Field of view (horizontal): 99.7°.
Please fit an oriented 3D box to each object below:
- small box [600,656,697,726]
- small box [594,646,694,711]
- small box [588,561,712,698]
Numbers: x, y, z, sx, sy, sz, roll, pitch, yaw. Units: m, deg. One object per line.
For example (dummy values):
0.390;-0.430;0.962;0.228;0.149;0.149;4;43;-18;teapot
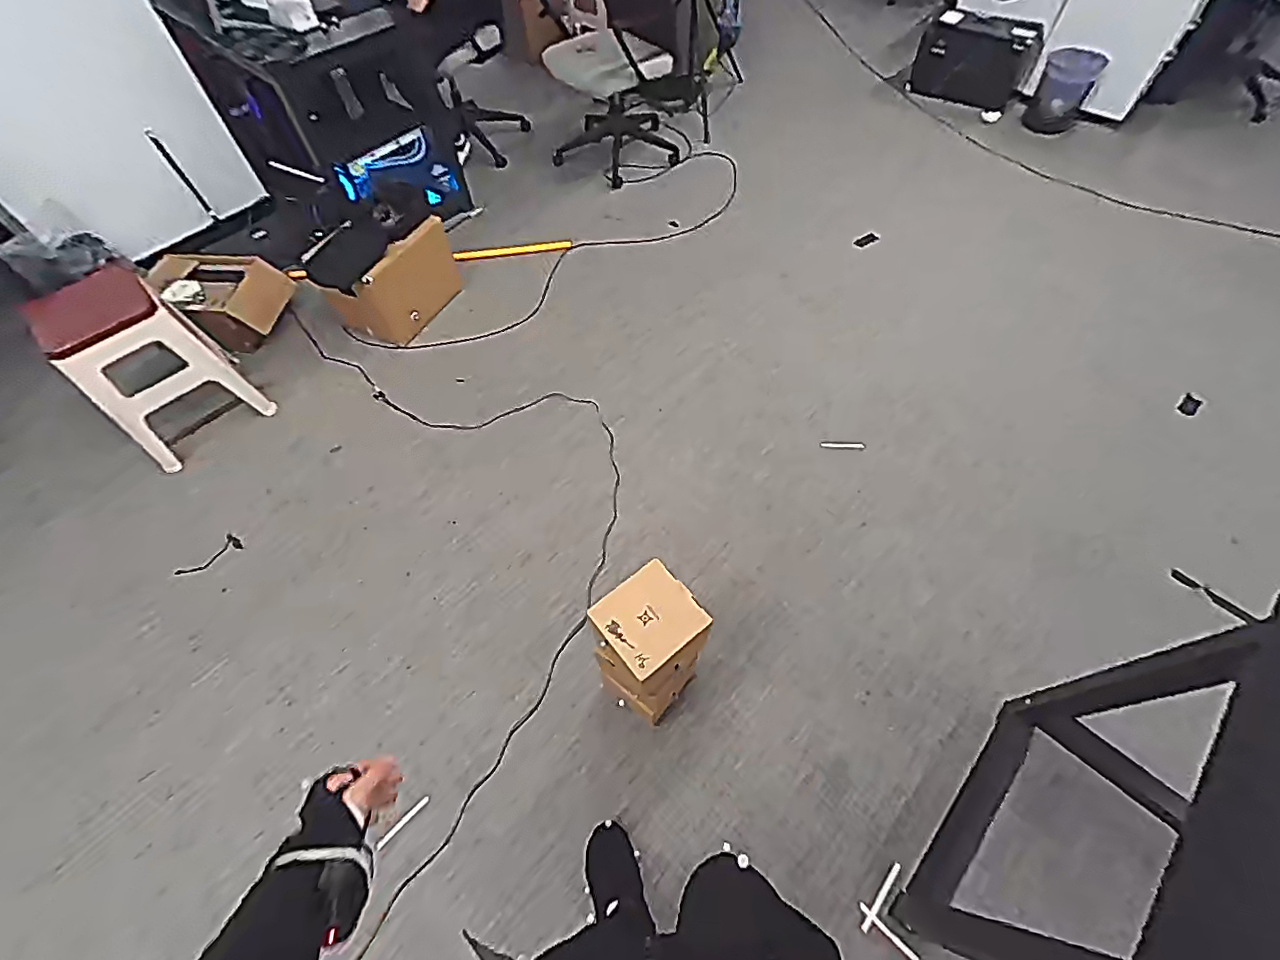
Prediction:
0.020;0.476;1.338;0.168;0.176;0.179;34;66;21;small box
0.019;0.385;1.204;0.168;0.176;0.179;32;62;19;small box
0.017;0.298;1.065;0.179;0.176;0.168;-35;63;-20;small box
